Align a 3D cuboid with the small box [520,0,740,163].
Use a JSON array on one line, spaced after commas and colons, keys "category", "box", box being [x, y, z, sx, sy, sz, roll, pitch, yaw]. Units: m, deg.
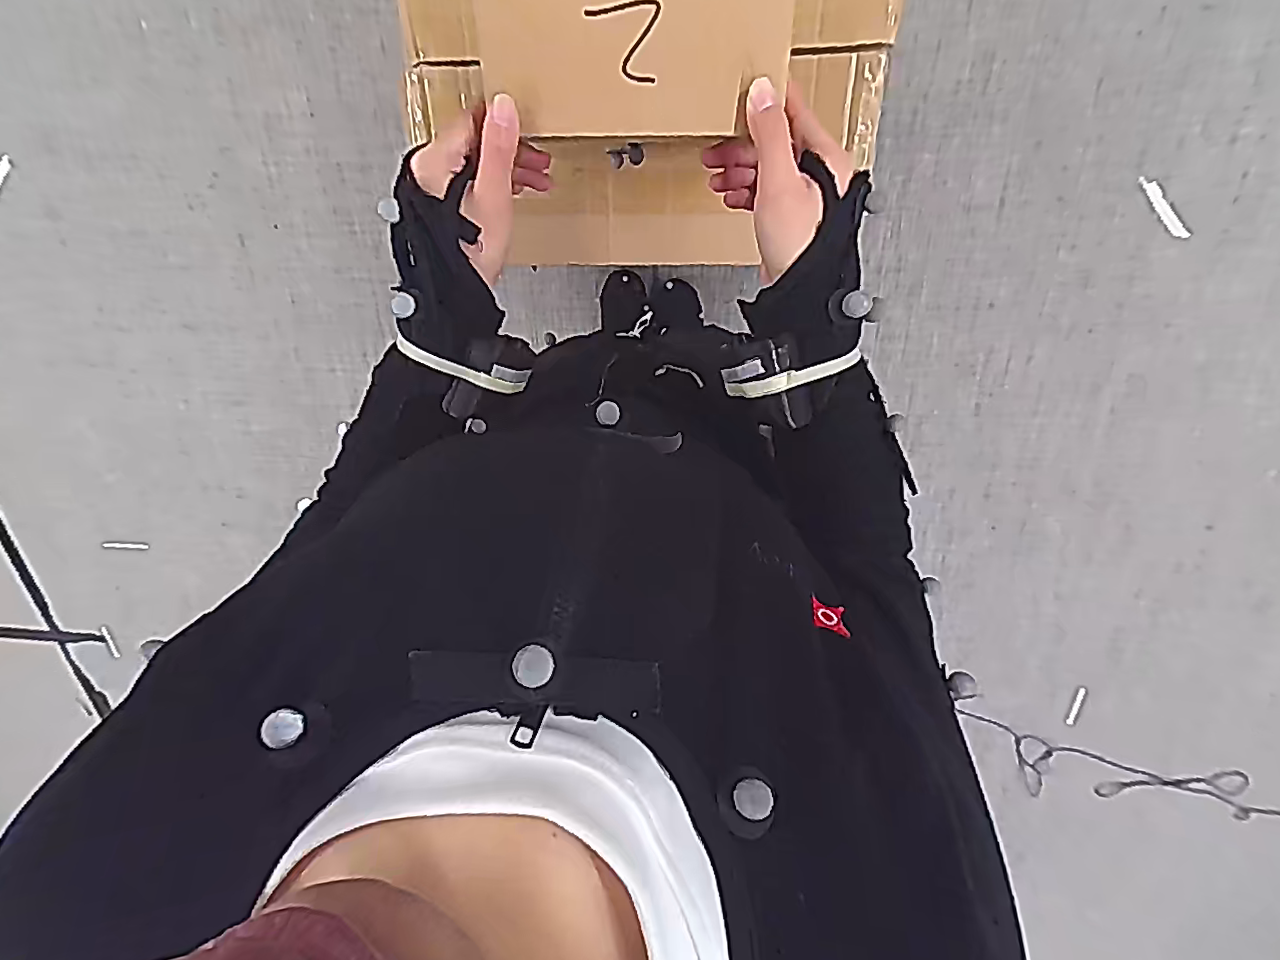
[{"category": "small box", "box": [-0.002, -0.398, 0.499, 0.179, 0.176, 0.168, 3, 114, 4]}]
